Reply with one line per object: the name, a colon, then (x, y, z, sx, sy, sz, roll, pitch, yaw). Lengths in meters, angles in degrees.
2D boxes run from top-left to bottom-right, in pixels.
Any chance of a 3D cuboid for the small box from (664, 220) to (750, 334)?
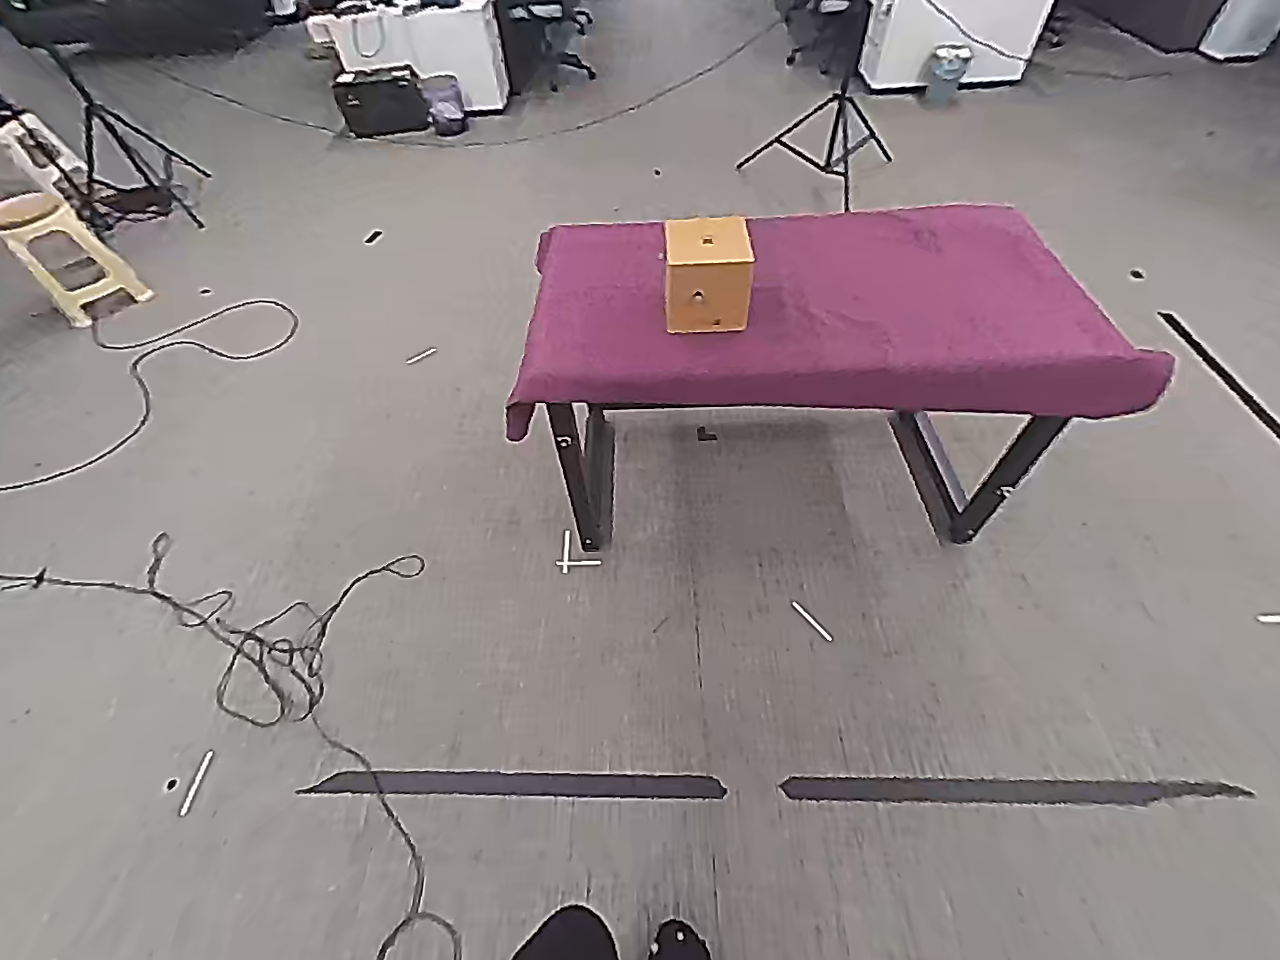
small box: (0.138, -0.427, 1.154, 0.168, 0.176, 0.179, -2, 52, 2)
